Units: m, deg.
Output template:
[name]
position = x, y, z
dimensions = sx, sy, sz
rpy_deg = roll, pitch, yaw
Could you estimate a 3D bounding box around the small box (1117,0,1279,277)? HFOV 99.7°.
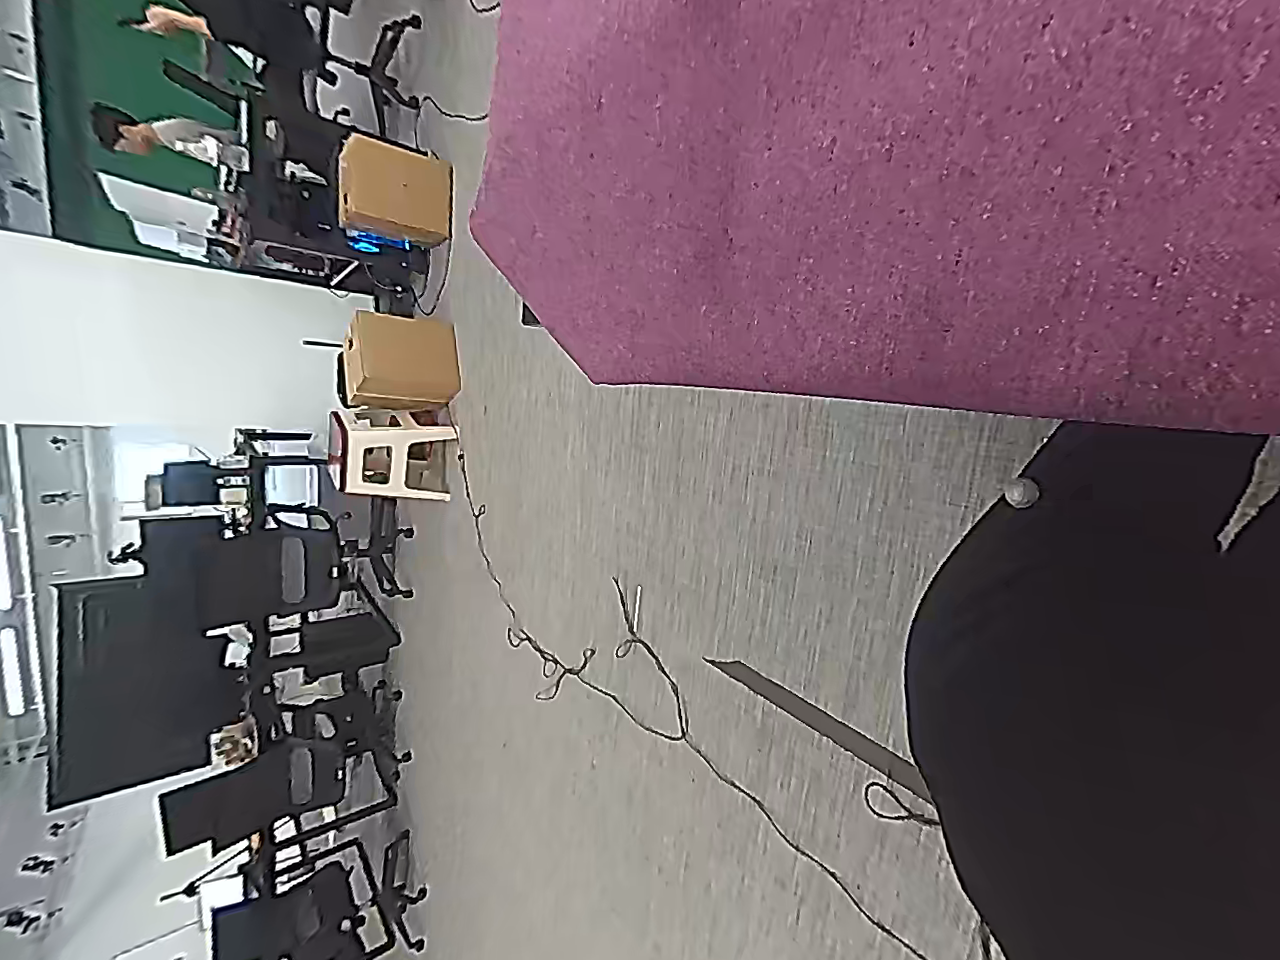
[small box]
position = 0.548, -0.289, 0.466
dimensions = 0.168, 0.176, 0.179
rpy_deg = 12, 104, 51
